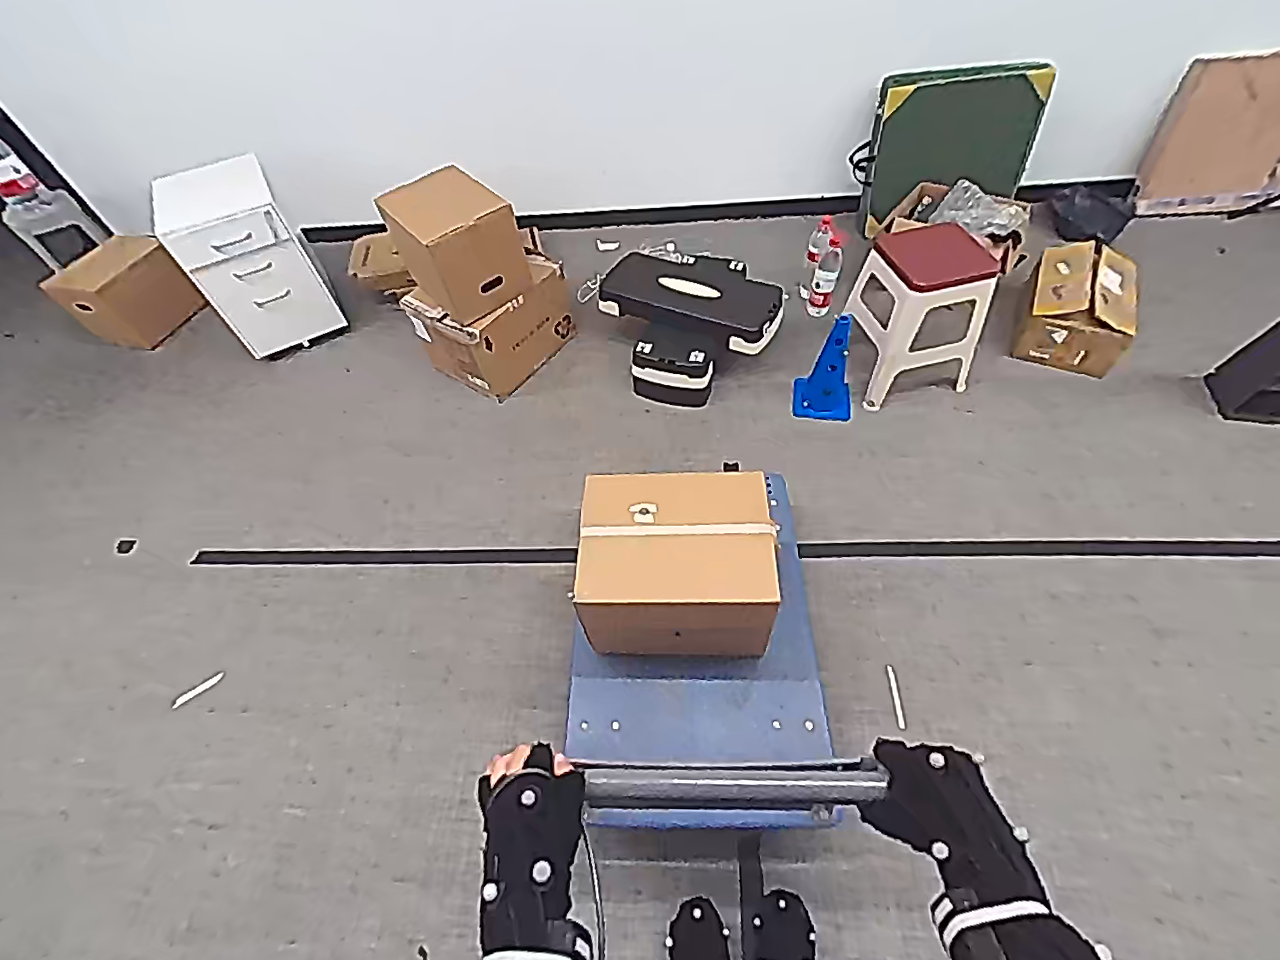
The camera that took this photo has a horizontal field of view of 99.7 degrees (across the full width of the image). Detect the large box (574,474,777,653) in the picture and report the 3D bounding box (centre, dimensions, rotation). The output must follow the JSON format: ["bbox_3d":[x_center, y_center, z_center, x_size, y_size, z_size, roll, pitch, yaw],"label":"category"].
[{"bbox_3d":[0.083,0.204,1.258,0.408,0.320,0.320,-2,54,5],"label":"large box"}]
